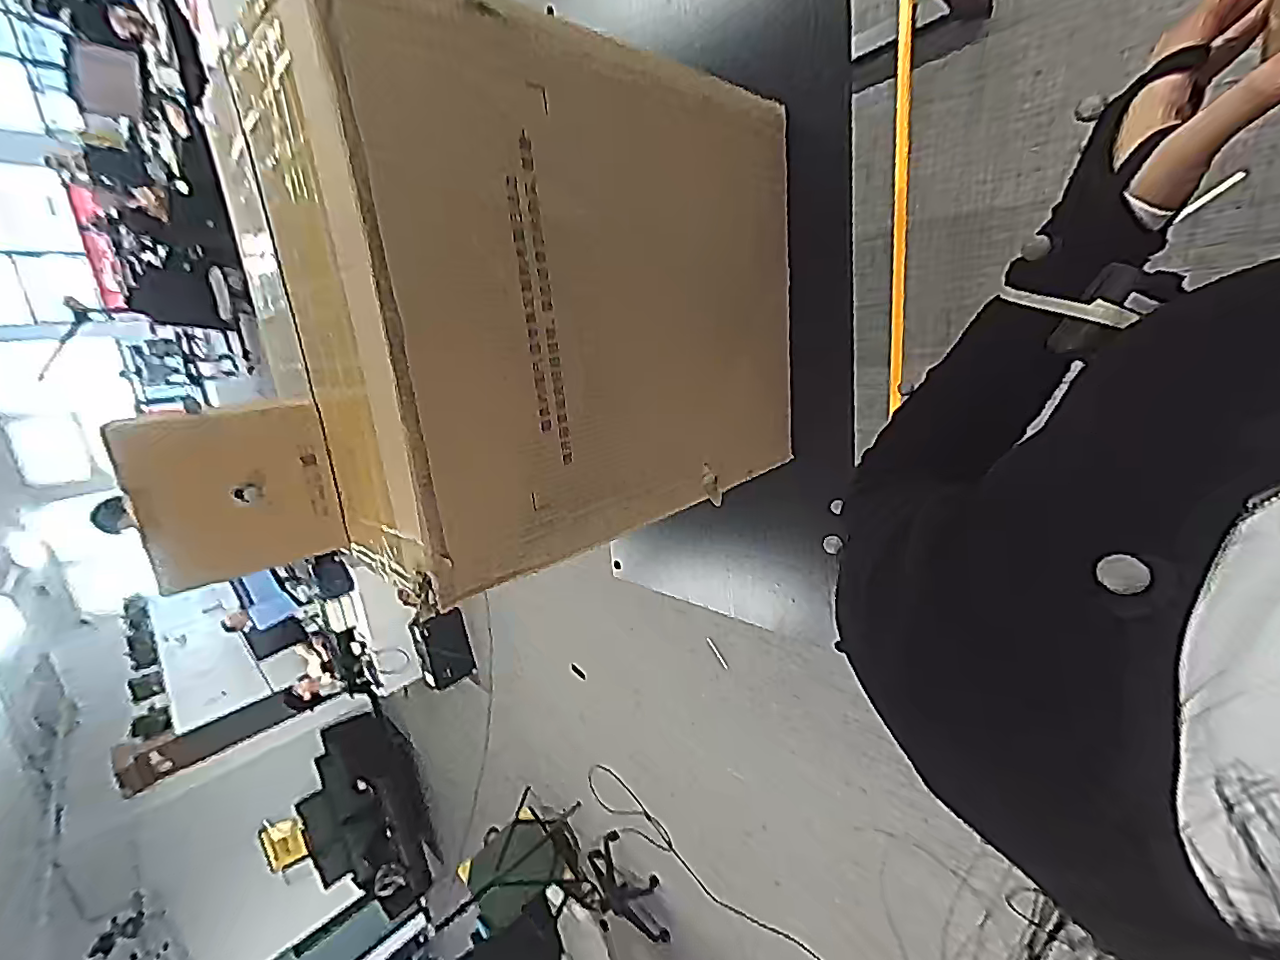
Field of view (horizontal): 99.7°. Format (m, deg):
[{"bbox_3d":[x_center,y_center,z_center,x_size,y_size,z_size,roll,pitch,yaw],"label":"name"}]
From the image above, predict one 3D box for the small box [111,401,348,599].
[{"bbox_3d":[-0.445,0.006,0.601,0.179,0.176,0.168,10,111,46],"label":"small box"}]
